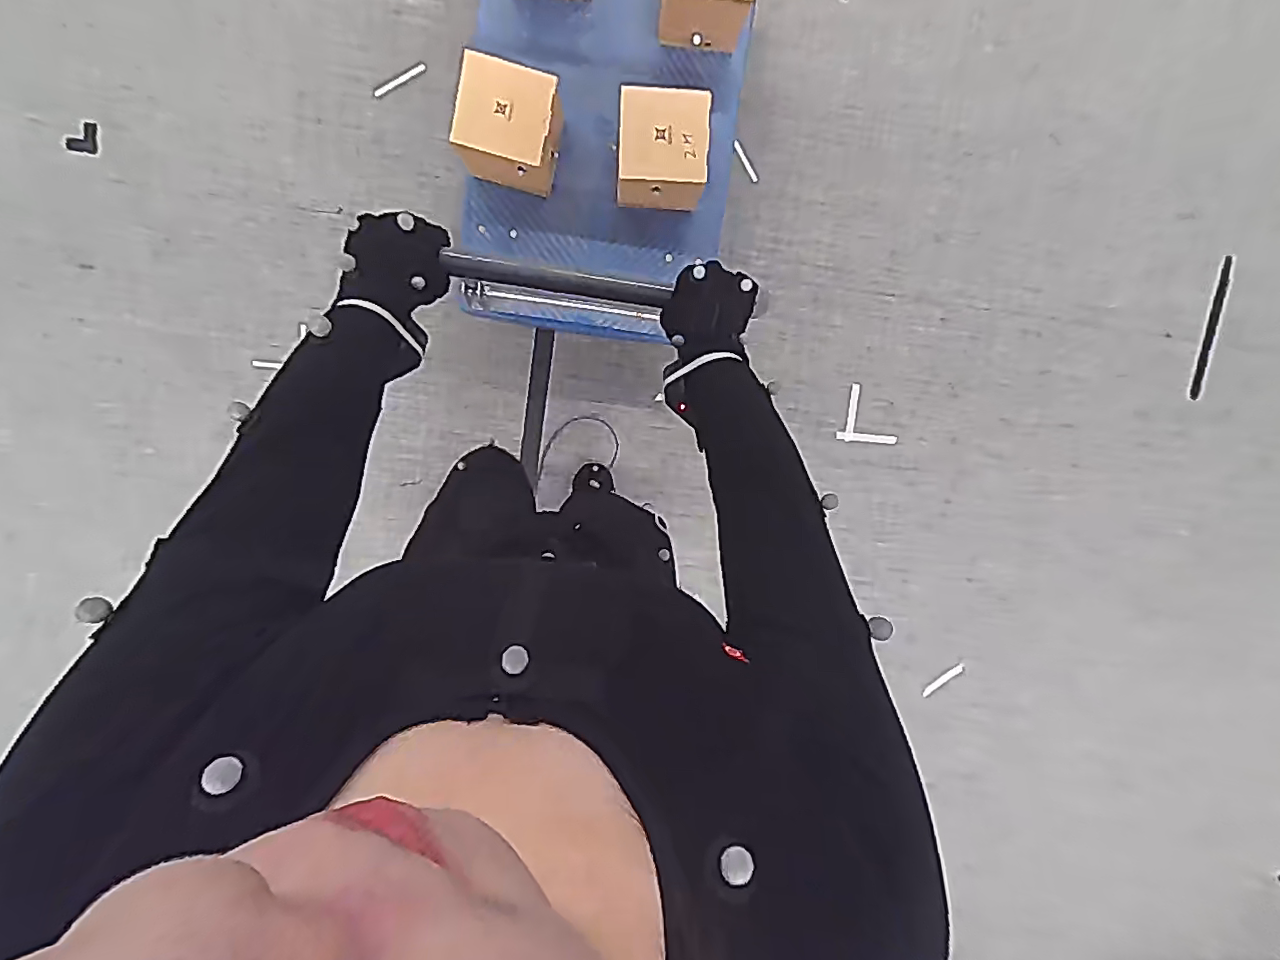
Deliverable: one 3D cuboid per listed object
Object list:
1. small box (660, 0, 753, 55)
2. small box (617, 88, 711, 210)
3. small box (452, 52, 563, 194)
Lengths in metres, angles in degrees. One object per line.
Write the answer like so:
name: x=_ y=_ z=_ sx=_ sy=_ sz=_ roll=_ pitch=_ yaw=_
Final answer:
small box: x=0.133 y=-0.998 z=1.073 sx=0.168 sy=0.176 sz=0.179 roll=4 pitch=100 yaw=-4
small box: x=0.043 y=-0.676 z=1.124 sx=0.179 sy=0.176 sz=0.168 roll=2 pitch=100 yaw=-3
small box: x=-0.261 y=-0.710 z=1.100 sx=0.179 sy=0.176 sz=0.168 roll=13 pitch=98 yaw=-7
